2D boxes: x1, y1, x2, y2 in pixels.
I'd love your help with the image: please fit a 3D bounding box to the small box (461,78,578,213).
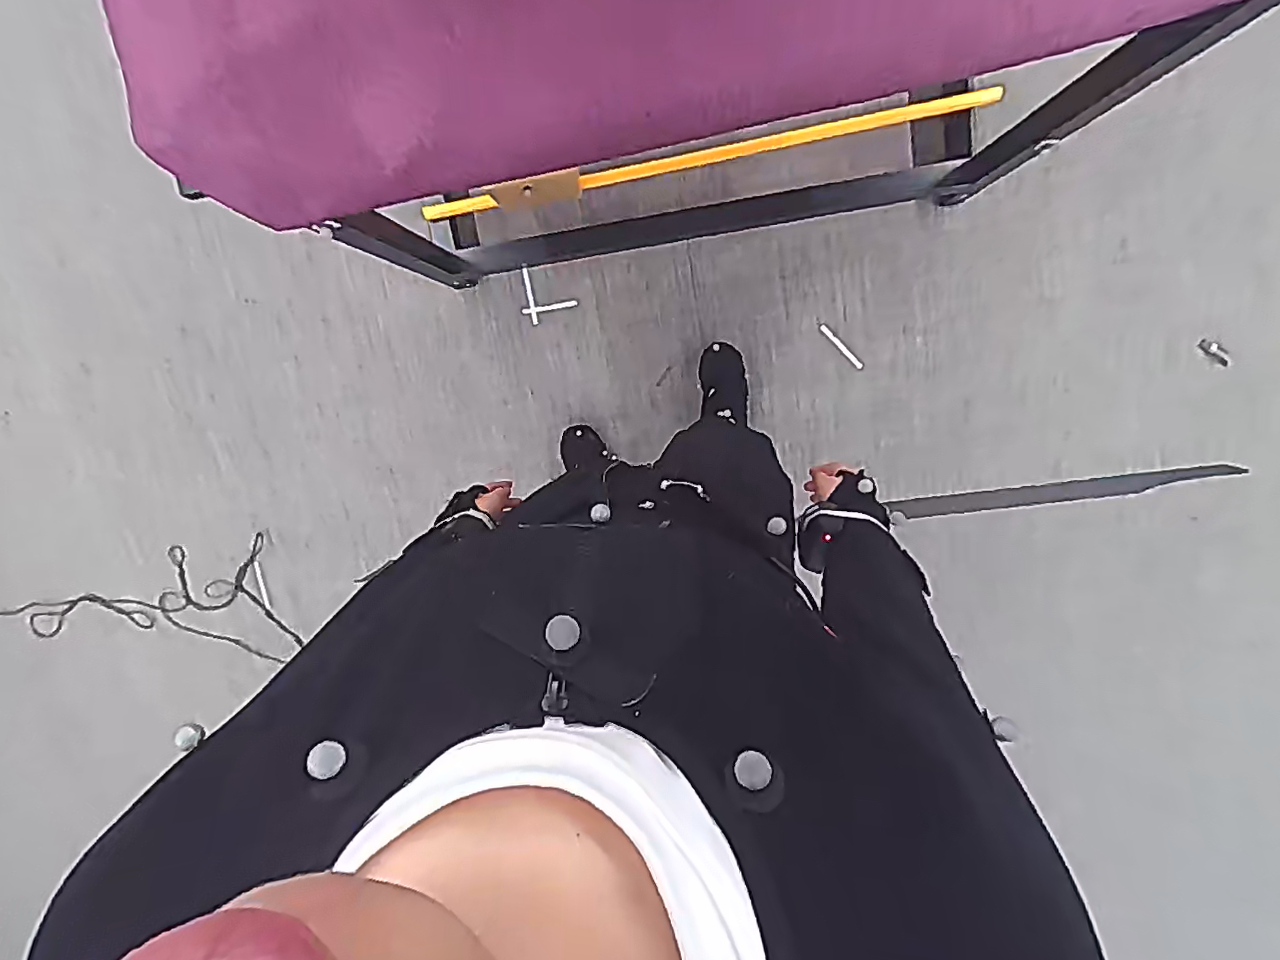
[{"bbox_3d":[-0.224,-0.643,1.059,0.179,0.176,0.168,-9,102,4],"label":"small box"}]
